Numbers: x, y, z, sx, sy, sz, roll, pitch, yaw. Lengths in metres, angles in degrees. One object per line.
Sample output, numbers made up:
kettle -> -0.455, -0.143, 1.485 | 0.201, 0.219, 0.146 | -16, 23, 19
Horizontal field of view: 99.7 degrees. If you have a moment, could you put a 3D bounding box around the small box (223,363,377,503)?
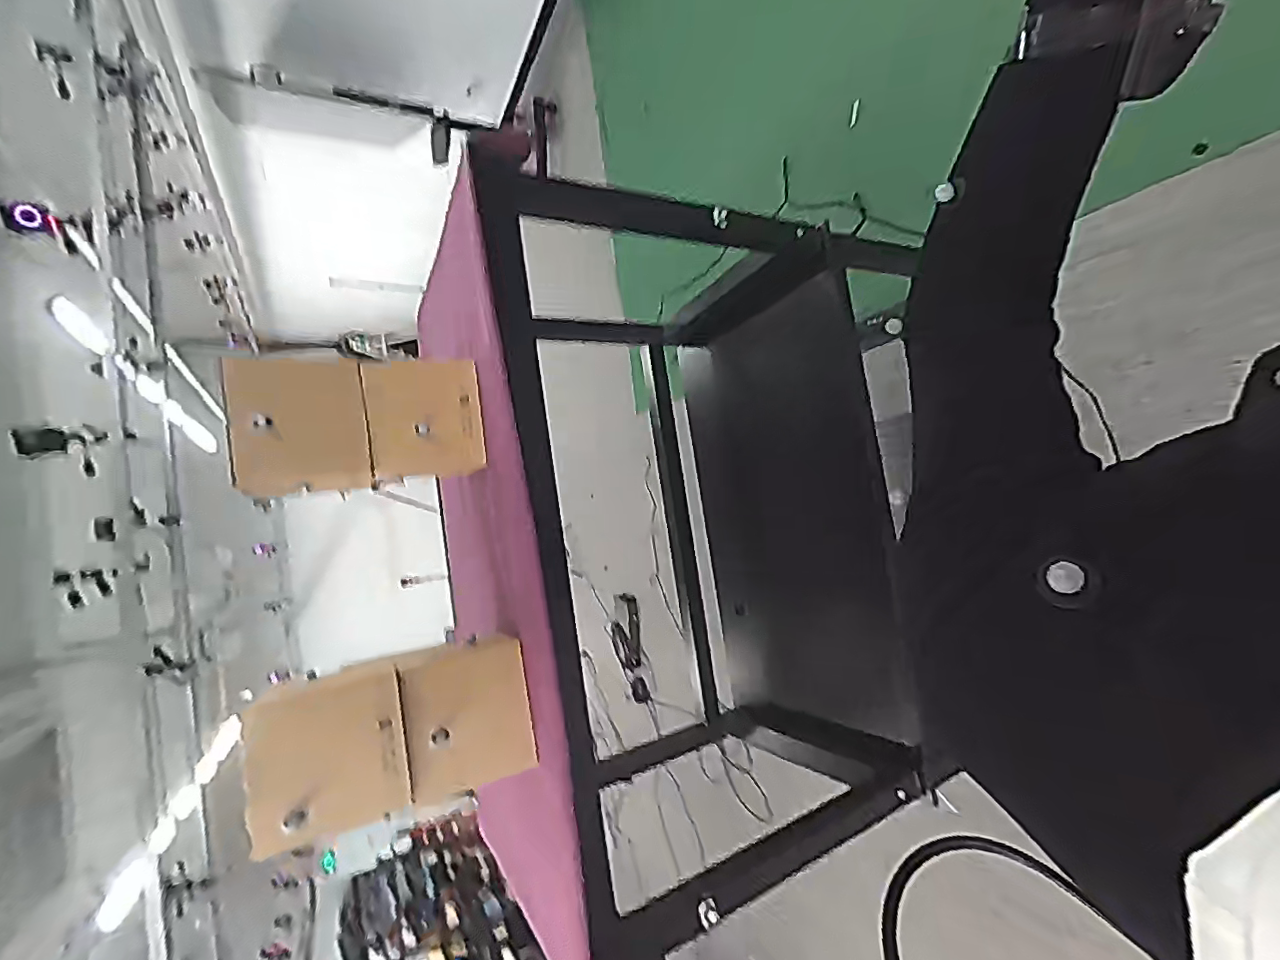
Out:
small box -> -0.494, -0.069, 0.808 | 0.168, 0.176, 0.179 | -17, 81, 61

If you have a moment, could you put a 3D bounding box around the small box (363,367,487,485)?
small box -> -0.355, -0.087, 0.892 | 0.179, 0.176, 0.168 | -10, 87, 62

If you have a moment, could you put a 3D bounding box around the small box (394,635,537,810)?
small box -> -0.260, 0.342, 0.801 | 0.168, 0.176, 0.179 | -25, 74, 60
